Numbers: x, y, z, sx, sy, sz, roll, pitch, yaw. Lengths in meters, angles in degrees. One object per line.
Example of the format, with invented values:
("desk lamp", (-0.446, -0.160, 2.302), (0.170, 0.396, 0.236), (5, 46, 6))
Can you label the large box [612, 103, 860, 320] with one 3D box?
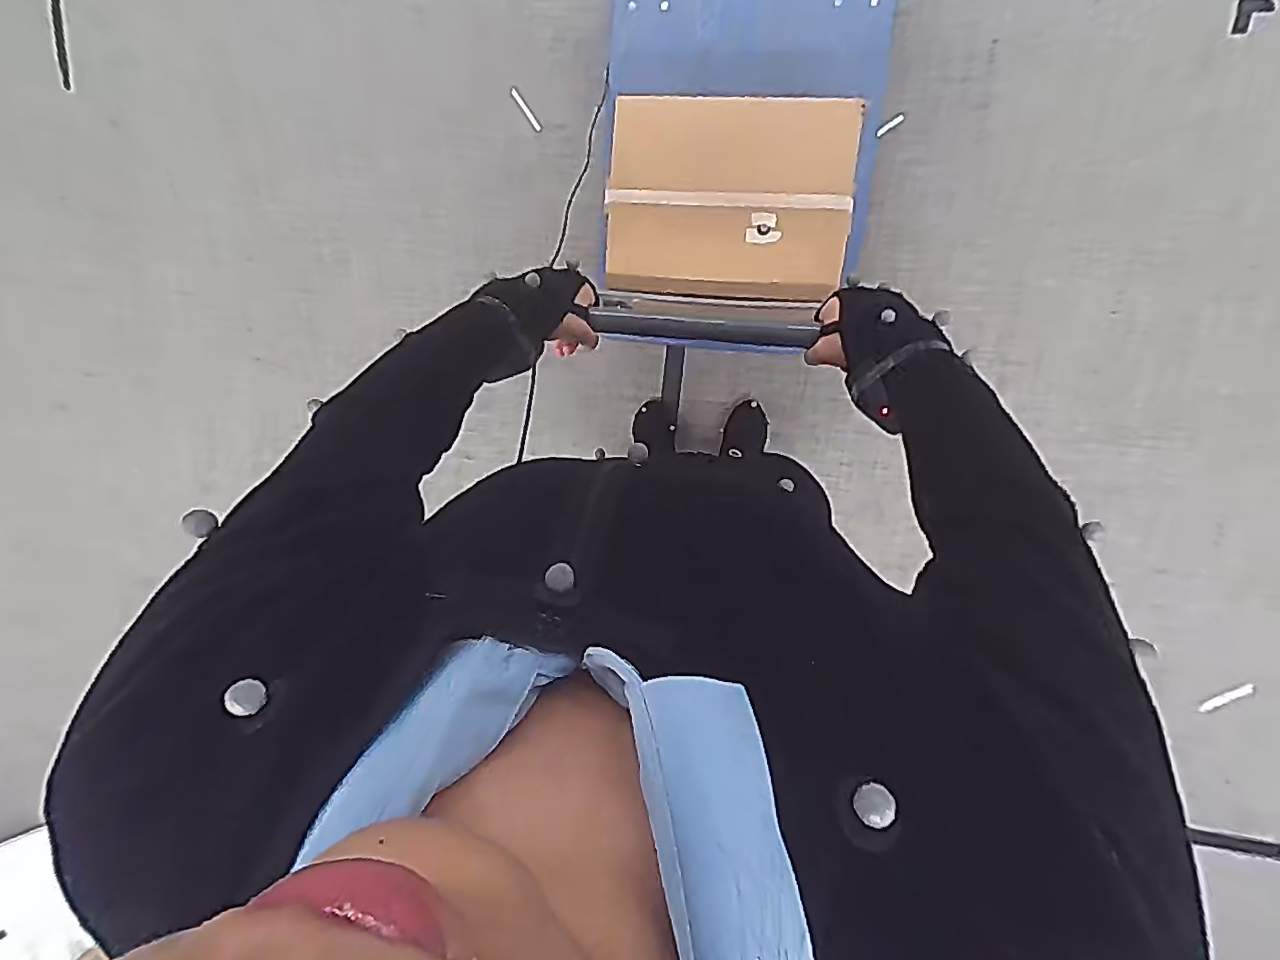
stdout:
("large box", (0.171, -0.502, 1.073), (0.408, 0.320, 0.320), (6, 102, 7))
